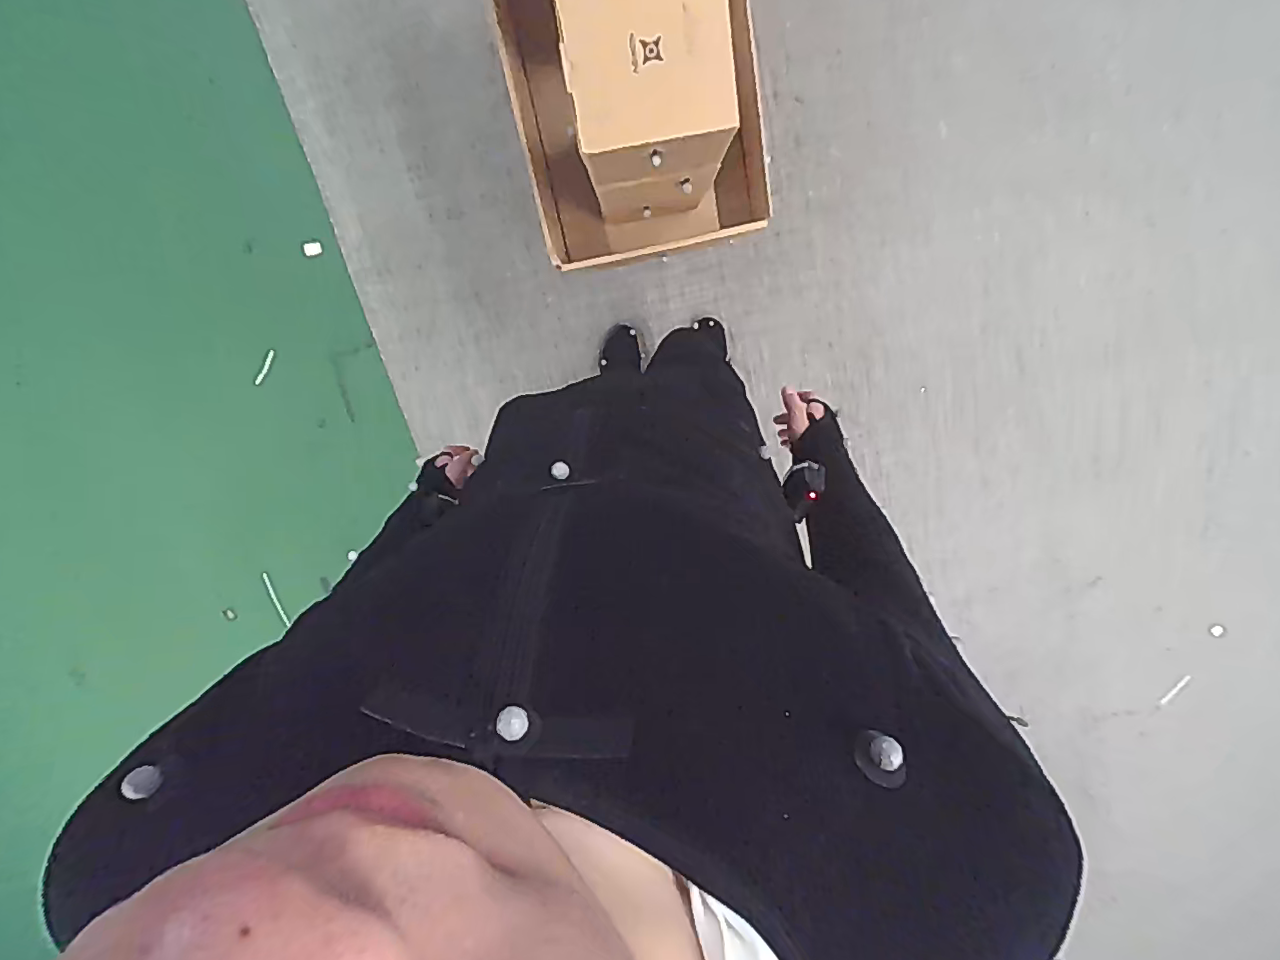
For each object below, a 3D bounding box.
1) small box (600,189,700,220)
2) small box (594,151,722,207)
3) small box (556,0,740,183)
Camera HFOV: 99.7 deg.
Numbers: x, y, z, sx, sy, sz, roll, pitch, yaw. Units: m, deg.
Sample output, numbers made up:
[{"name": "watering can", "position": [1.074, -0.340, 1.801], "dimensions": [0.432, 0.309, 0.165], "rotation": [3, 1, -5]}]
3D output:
[{"name": "small box", "position": [0.012, -0.565, 0.940], "dimensions": [0.179, 0.176, 0.168], "rotation": [-9, 108, 4]}, {"name": "small box", "position": [0.014, -0.511, 0.784], "dimensions": [0.179, 0.176, 0.168], "rotation": [-8, 107, 3]}, {"name": "small box", "position": [0.012, -0.463, 0.629], "dimensions": [0.179, 0.176, 0.168], "rotation": [-8, 108, 3]}]
